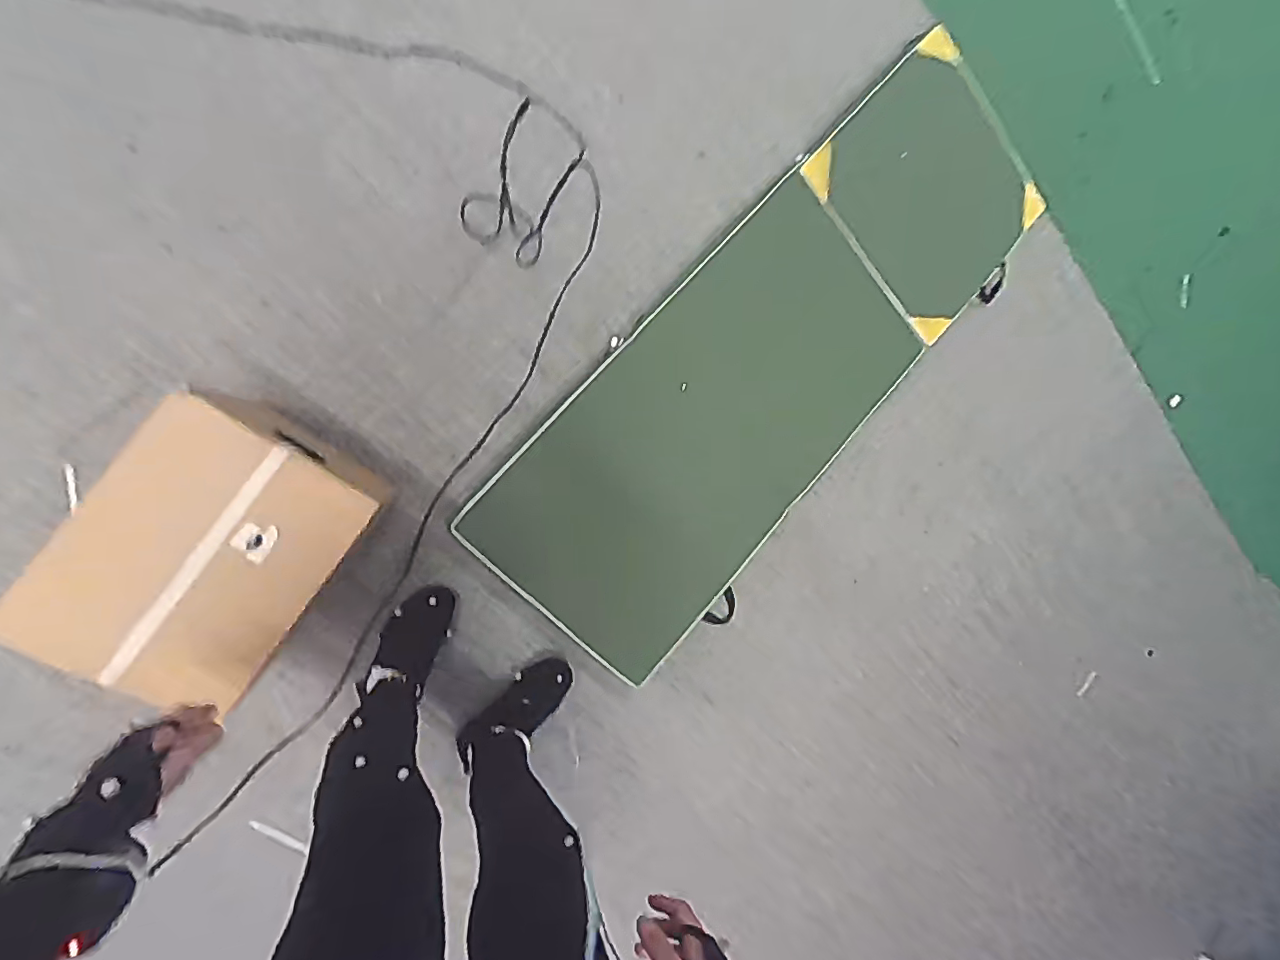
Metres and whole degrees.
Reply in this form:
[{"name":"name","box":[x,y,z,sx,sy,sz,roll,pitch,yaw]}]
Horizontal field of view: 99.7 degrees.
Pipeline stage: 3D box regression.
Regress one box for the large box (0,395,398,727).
[{"name":"large box","box":[-0.684,0.119,0.931,0.320,0.320,0.408,36,81,-17]}]
